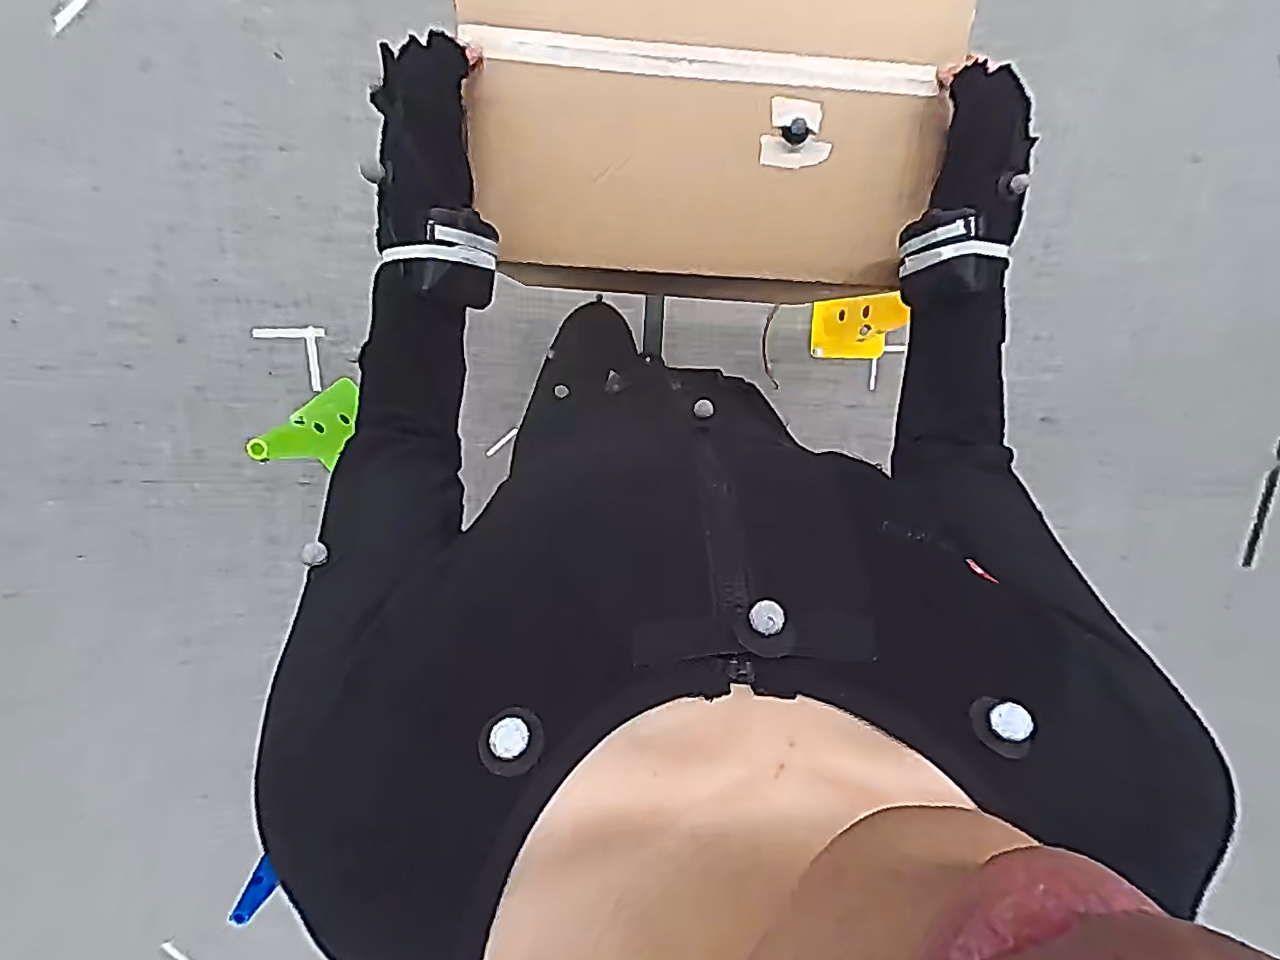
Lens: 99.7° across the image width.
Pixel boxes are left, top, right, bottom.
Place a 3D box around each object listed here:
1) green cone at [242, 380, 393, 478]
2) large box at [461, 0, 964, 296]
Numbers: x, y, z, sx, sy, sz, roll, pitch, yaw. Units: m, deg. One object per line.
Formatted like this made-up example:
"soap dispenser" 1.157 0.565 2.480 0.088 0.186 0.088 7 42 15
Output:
"green cone" -0.764 -0.096 1.233 0.202 0.368 0.200 -35 100 6
"large box" 0.048 -0.376 0.578 0.408 0.320 0.320 2 105 -5
